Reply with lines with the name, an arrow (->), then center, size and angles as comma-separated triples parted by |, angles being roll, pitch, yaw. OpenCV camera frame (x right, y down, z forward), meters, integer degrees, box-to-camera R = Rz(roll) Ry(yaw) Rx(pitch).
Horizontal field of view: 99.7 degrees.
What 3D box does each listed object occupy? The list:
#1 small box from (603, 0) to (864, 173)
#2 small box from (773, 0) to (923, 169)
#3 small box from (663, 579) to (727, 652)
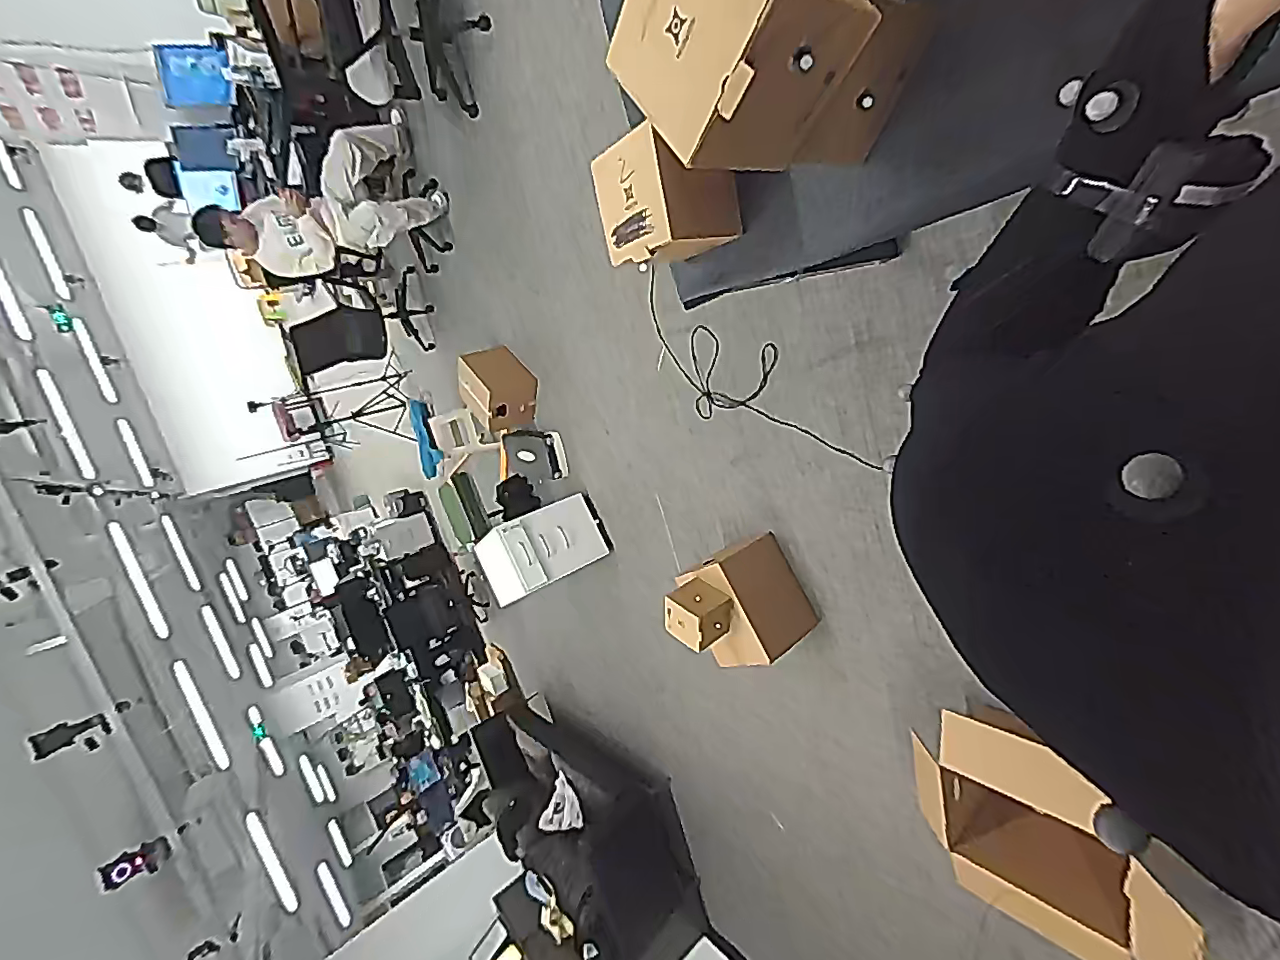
small box -> 0.095, -0.457, 0.571 | 0.179, 0.176, 0.168 | 58, 143, 15
small box -> 0.207, -0.515, 0.675 | 0.179, 0.176, 0.168 | 50, 141, 24
small box -> 0.205, 0.495, 2.006 | 0.179, 0.176, 0.168 | 25, 127, 42
